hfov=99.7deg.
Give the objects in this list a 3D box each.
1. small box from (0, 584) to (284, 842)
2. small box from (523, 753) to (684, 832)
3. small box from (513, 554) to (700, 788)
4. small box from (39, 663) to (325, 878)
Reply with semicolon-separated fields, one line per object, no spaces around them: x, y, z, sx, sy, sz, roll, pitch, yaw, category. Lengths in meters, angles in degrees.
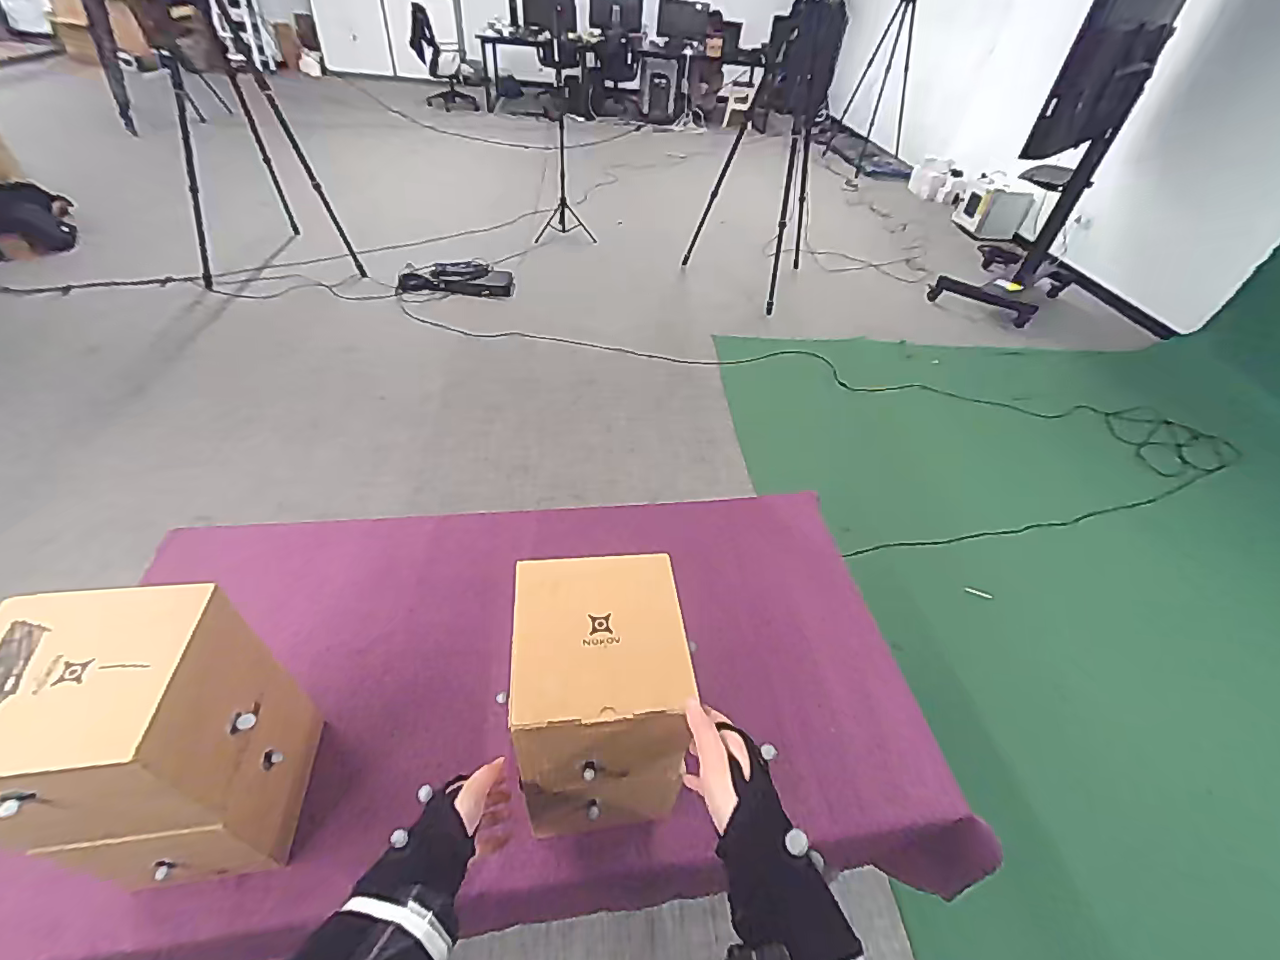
-0.483;0.219;0.511;0.179;0.176;0.168;-2;44;-9;small box
-0.050;0.323;0.685;0.179;0.176;0.168;-4;45;-9;small box
-0.044;0.201;0.577;0.168;0.176;0.179;-2;45;-8;small box
-0.494;0.337;0.625;0.168;0.176;0.179;-2;44;-9;small box
